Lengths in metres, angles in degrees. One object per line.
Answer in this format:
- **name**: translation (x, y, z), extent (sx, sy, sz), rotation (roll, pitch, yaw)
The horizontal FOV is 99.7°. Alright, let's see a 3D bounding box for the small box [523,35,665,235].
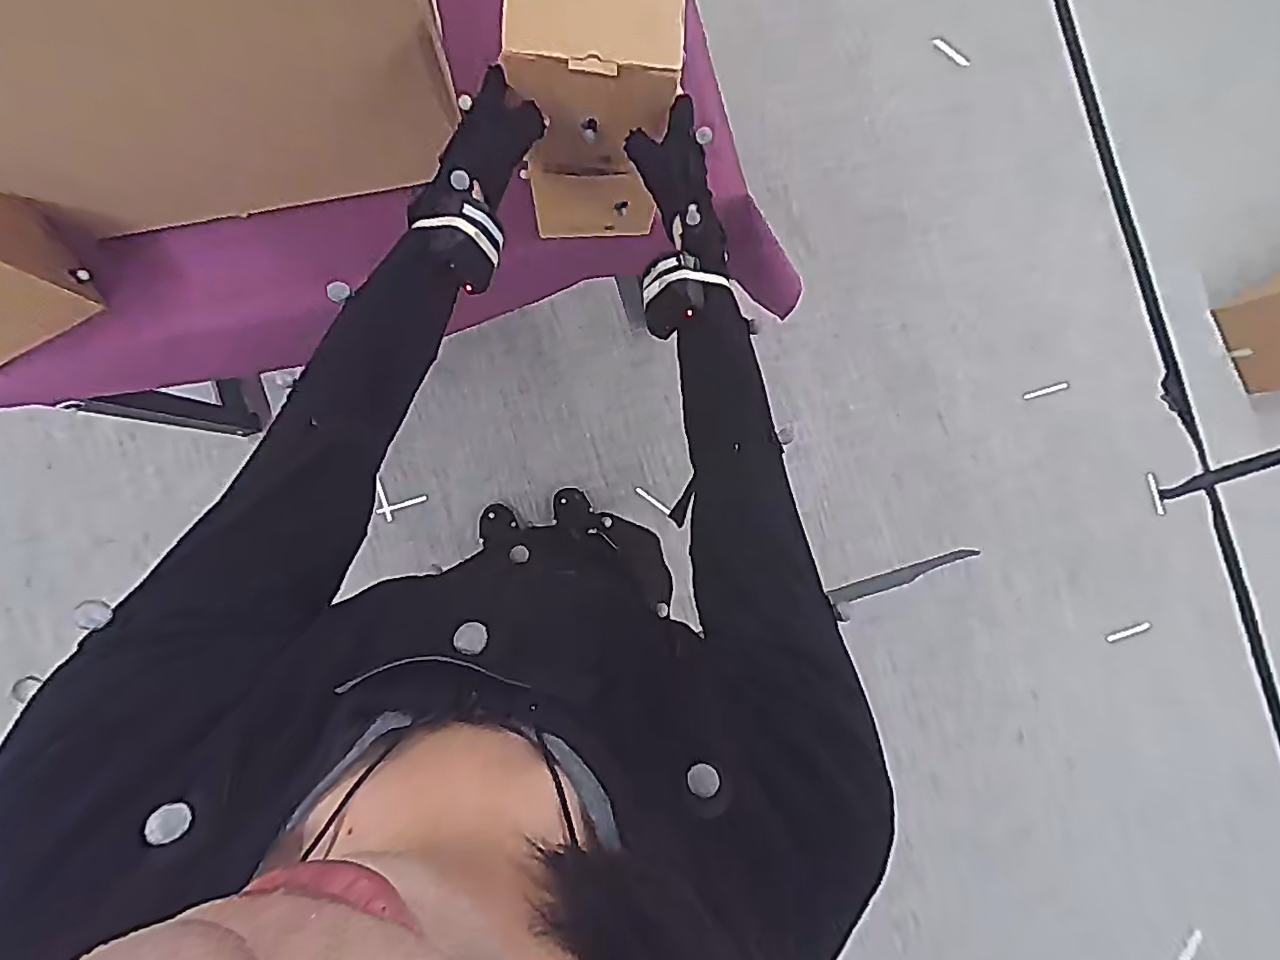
- **small box**: translation (-0.063, -0.451, 0.734), extent (0.168, 0.176, 0.179), rotation (-5, 88, -7)
